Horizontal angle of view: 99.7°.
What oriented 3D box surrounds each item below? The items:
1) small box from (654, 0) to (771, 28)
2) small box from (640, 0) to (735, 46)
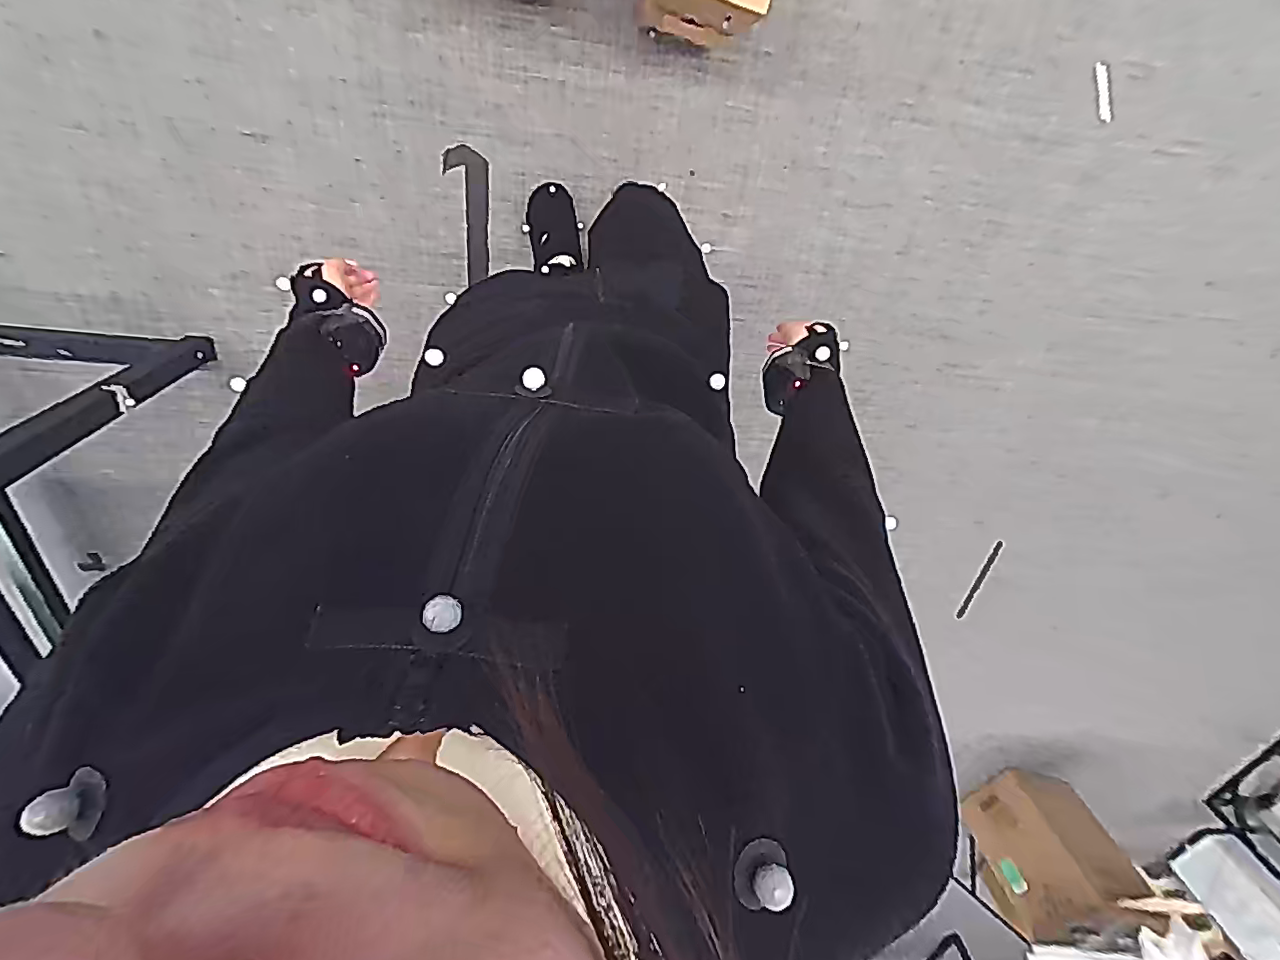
[{"bbox_3d":[0.123,-0.839,0.842,0.179,0.176,0.168,10,119,-14],"label":"small box"},{"bbox_3d":[0.100,-0.923,0.980,0.168,0.176,0.179,8,120,-13],"label":"small box"}]
